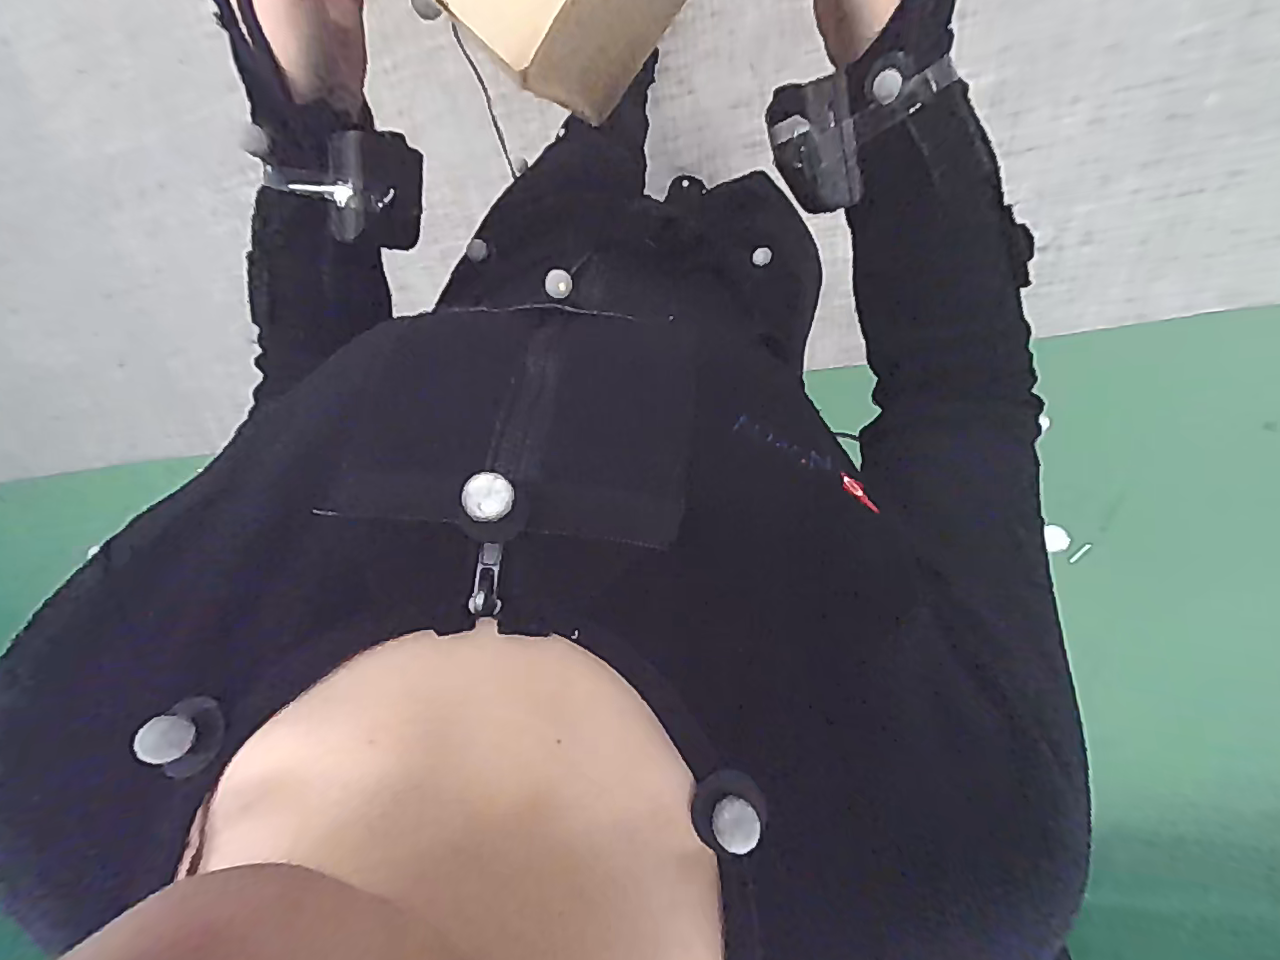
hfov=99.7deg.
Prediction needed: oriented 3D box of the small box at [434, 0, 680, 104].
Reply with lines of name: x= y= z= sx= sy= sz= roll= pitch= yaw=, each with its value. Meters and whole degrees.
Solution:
small box: x=-0.038 y=-0.292 z=0.217 sx=0.168 sy=0.176 sz=0.179 roll=39 pitch=117 yaw=-14
